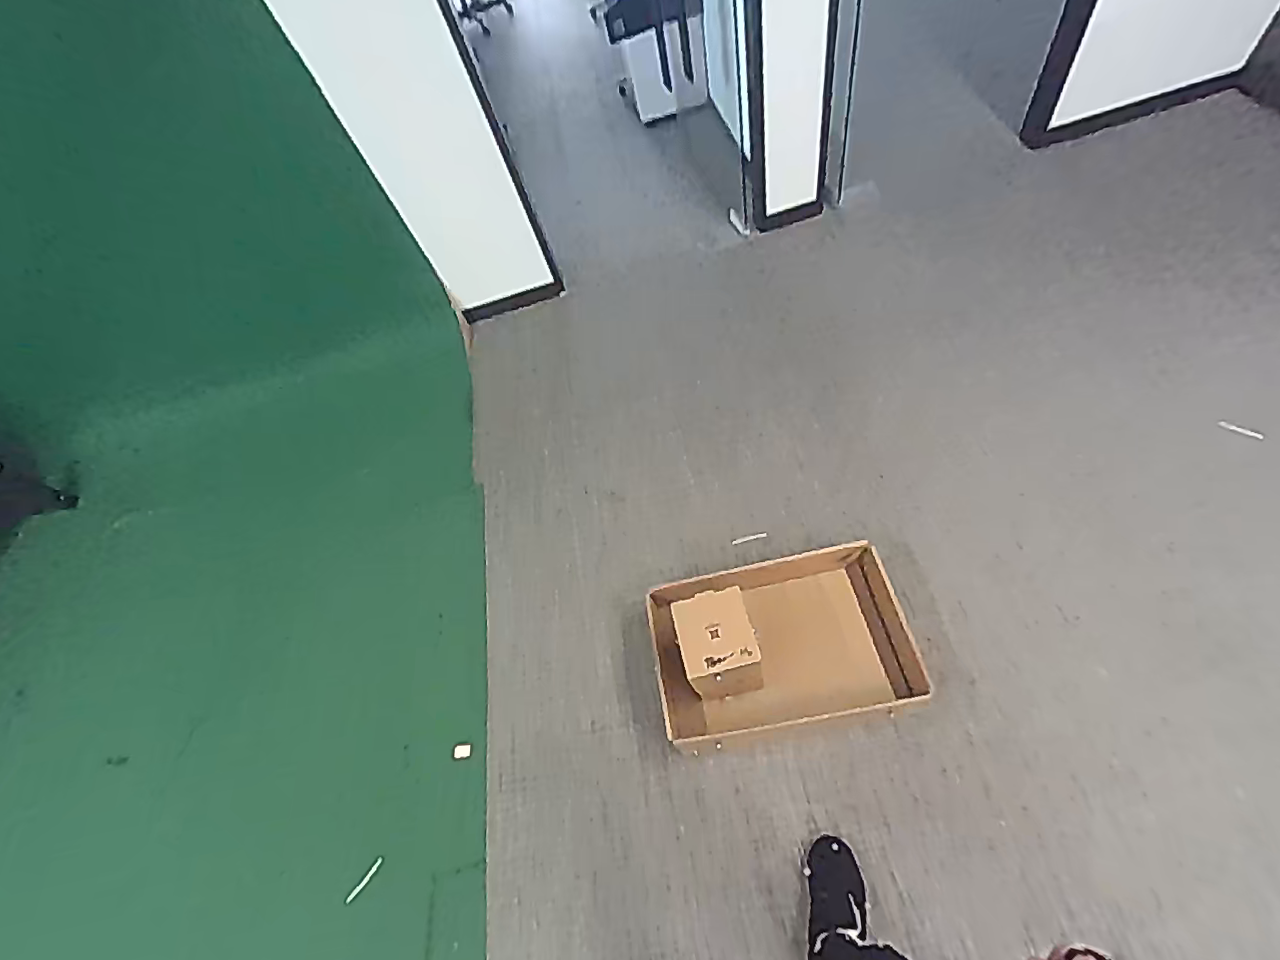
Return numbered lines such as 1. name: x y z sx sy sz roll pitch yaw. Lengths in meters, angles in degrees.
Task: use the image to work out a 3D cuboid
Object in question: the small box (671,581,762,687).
1. small box: 0.178 0.360 1.253 0.168 0.176 0.179 -15 57 5
